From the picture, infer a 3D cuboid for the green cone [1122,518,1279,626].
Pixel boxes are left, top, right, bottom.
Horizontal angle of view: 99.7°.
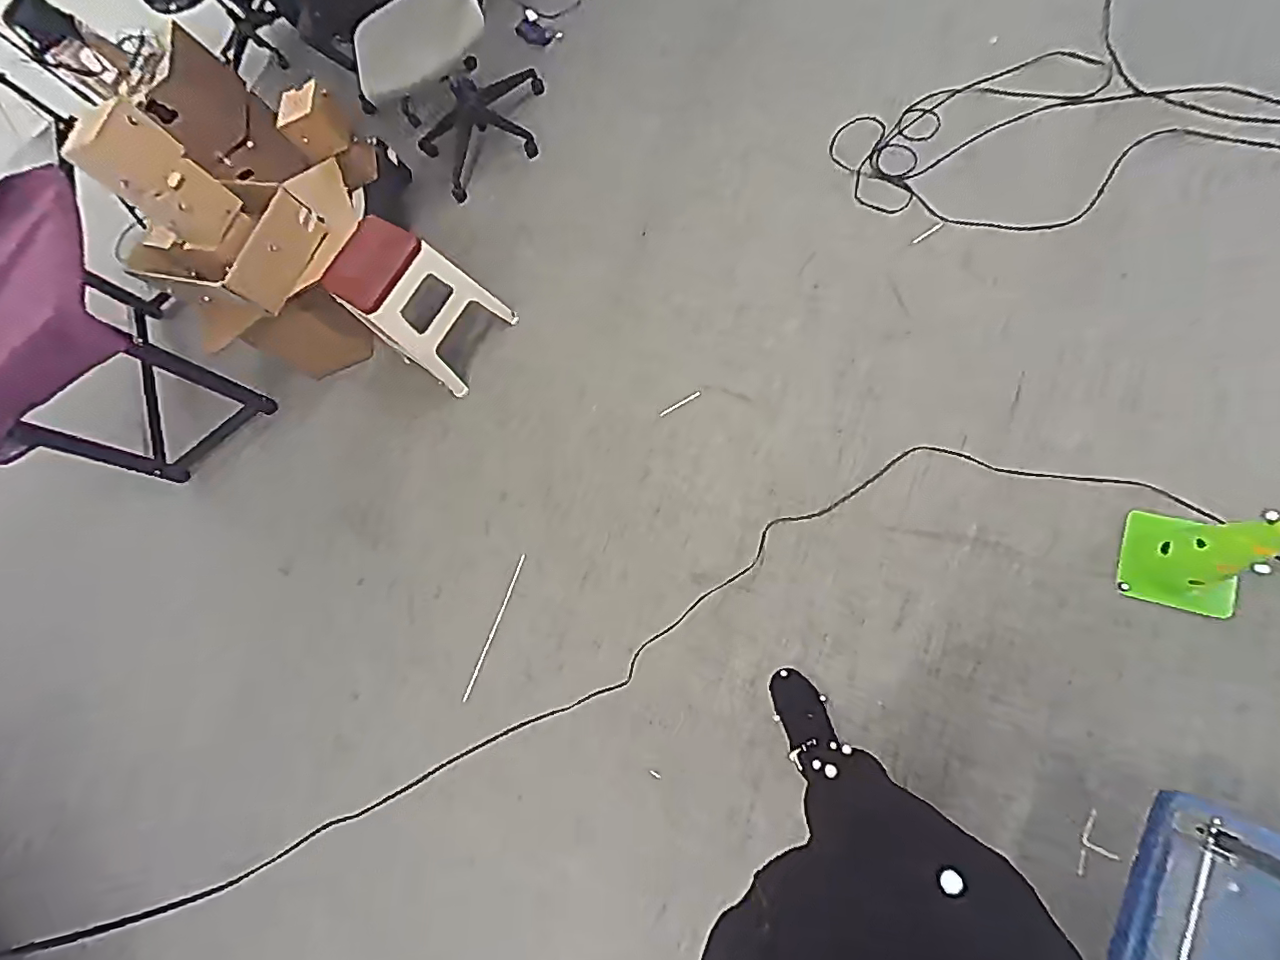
[{"bbox_3d":[1.124,0.140,1.017,0.200,0.368,0.202,14,77,23],"label":"green cone"}]
